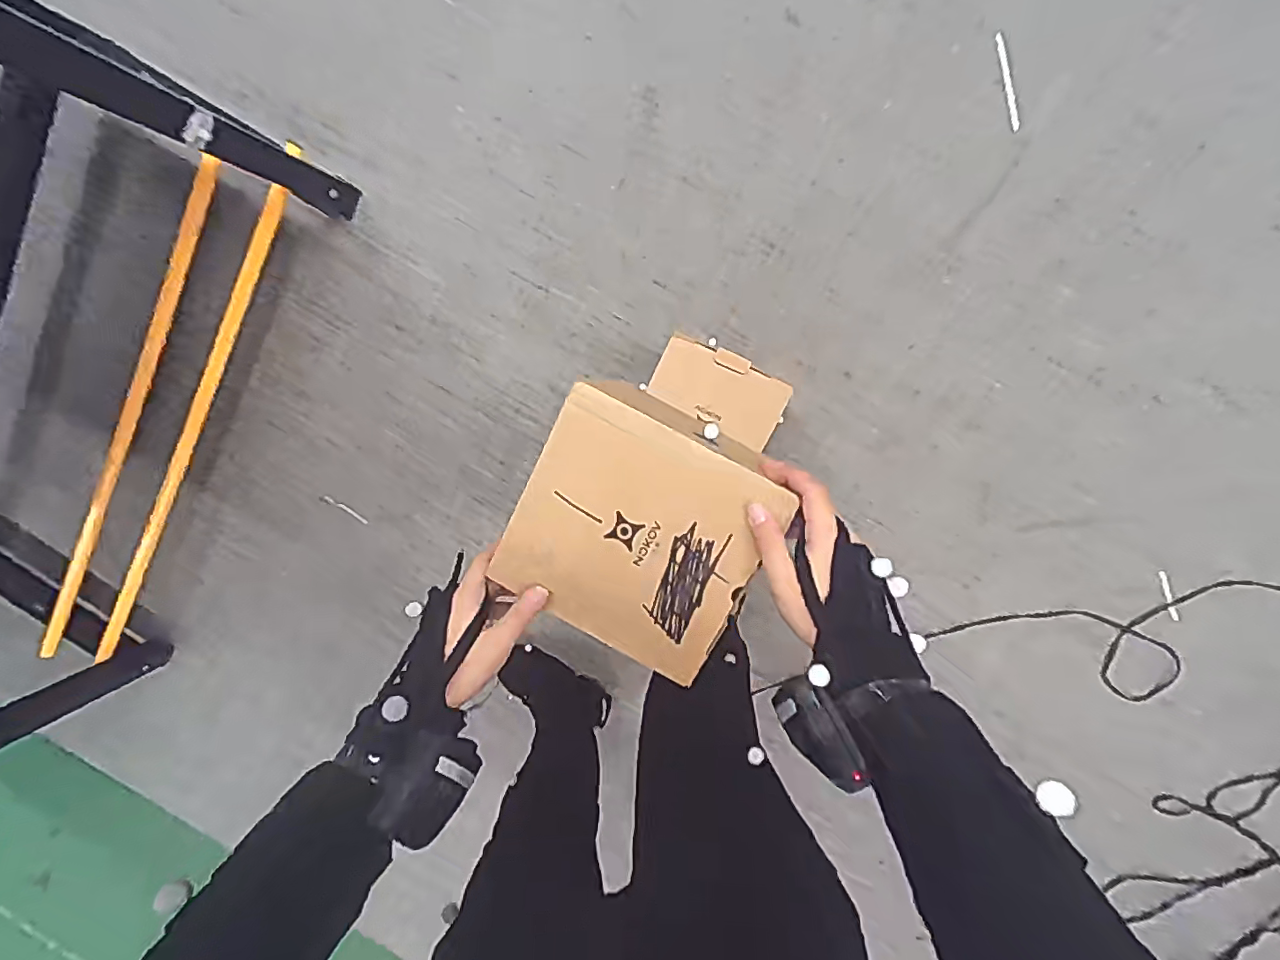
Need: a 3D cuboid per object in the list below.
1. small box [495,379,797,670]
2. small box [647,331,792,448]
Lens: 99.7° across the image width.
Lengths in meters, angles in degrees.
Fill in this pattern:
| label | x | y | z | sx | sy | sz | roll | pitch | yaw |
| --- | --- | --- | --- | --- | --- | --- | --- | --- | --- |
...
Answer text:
| label | x | y | z | sx | sy | sz | roll | pitch | yaw |
| --- | --- | --- | --- | --- | --- | --- | --- | --- | --- |
| small box | 0.011 | 0.021 | 0.473 | 0.179 | 0.176 | 0.168 | 28 | 103 | 4 |
| small box | 0.089 | -0.088 | 0.757 | 0.168 | 0.176 | 0.179 | 27 | 104 | 3 |
